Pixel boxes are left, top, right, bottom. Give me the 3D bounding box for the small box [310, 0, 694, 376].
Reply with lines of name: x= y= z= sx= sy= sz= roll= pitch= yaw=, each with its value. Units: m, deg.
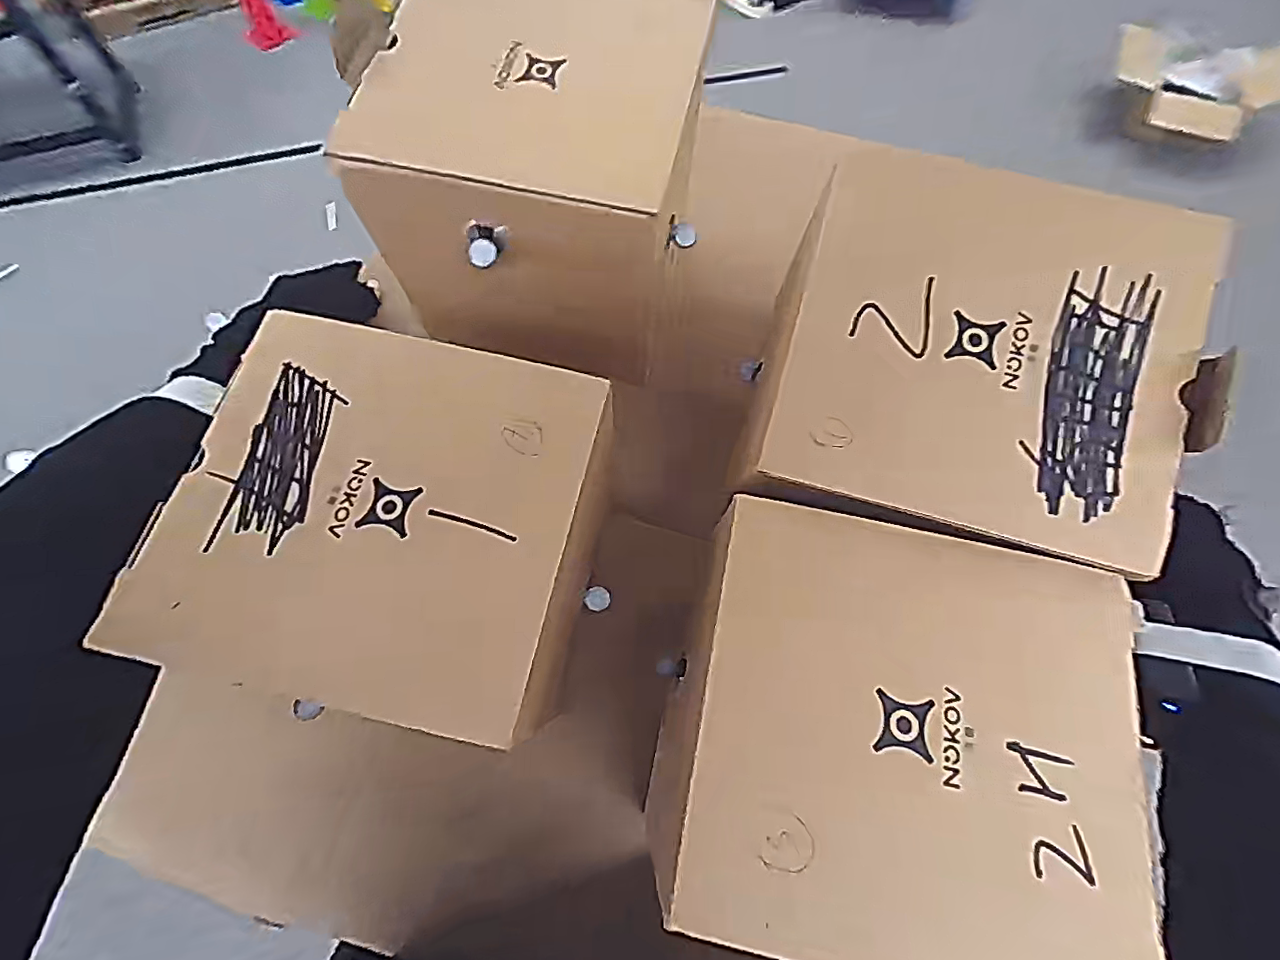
small box: x=-0.070 y=-0.190 z=0.372 sx=0.179 sy=0.176 sz=0.168 roll=11 pitch=72 yaw=3
